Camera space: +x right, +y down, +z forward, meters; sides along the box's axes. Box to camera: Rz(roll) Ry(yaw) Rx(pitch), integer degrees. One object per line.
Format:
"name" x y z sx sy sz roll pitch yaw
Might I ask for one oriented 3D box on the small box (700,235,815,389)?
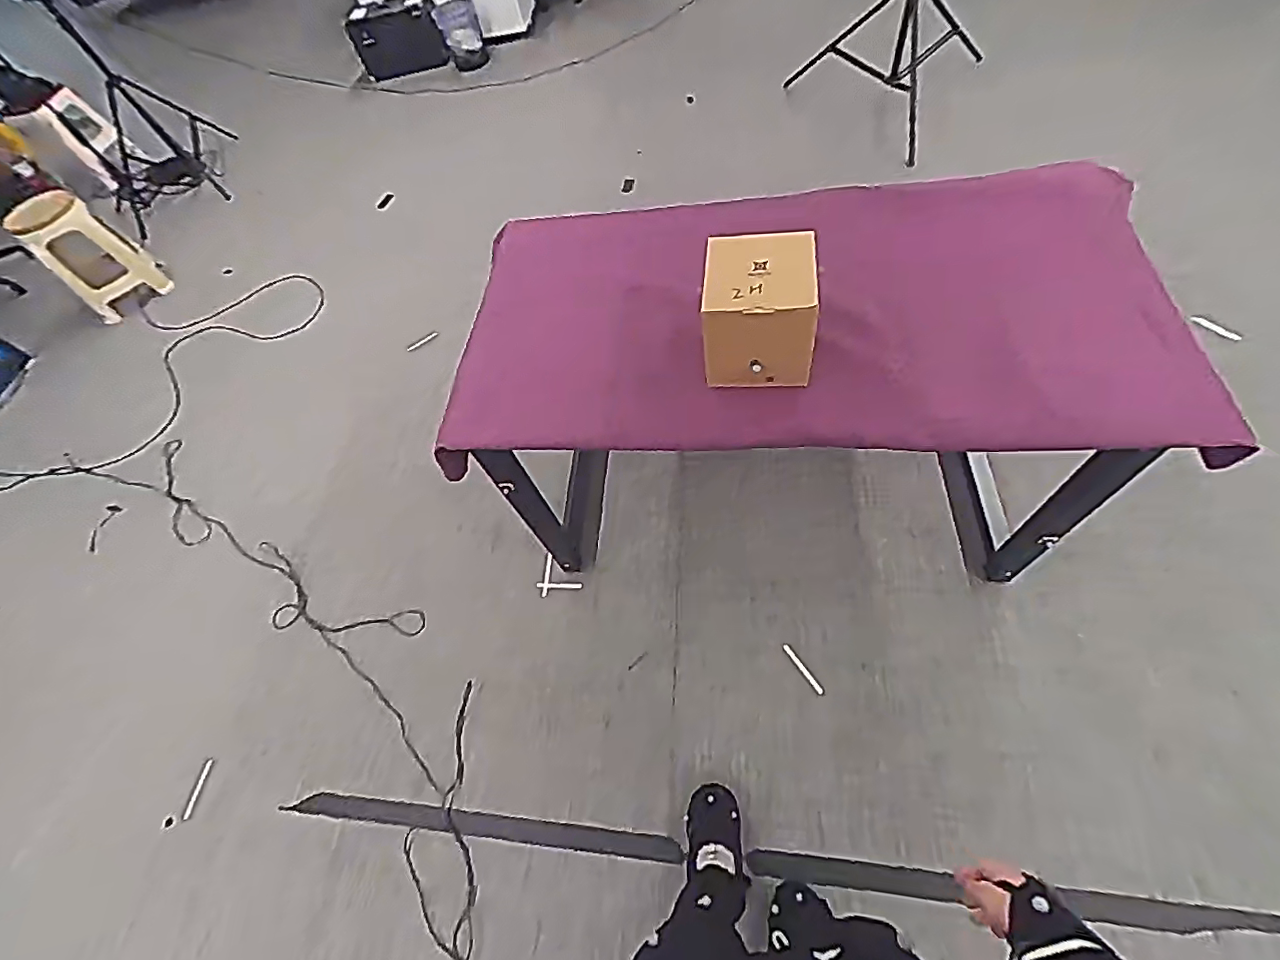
"small box" 0.191 -0.270 0.885 0.168 0.176 0.179 1 59 12
